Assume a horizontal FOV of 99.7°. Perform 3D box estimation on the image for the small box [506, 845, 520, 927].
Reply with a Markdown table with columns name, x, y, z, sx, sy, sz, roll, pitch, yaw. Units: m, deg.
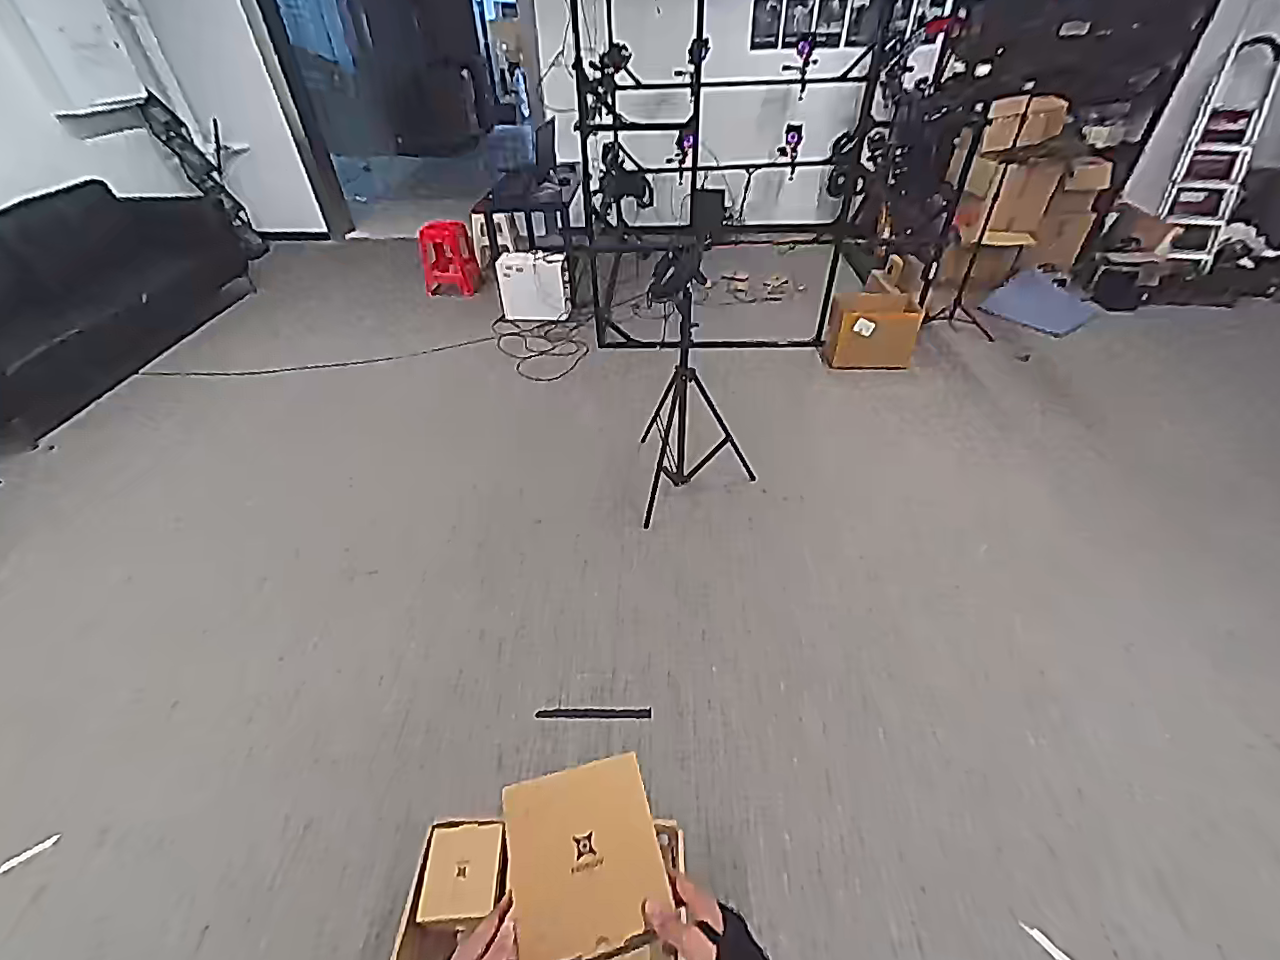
| name | x | y | z | sx | sy | sz | roll | pitch | yaw |
| --- | --- | --- | --- | --- | --- | --- | --- | --- | --- |
| small box | -0.203 | 0.923 | 1.260 | 0.179 | 0.176 | 0.168 | -3 | 42 | -2 |

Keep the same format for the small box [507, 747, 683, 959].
| name | x | y | z | sx | sy | sz | roll | pitch | yaw |
| --- | --- | --- | --- | --- | --- | --- | --- | --- | --- |
| small box | -0.063 | 0.455 | 0.649 | 0.168 | 0.176 | 0.179 | -9 | 49 | -14 |
